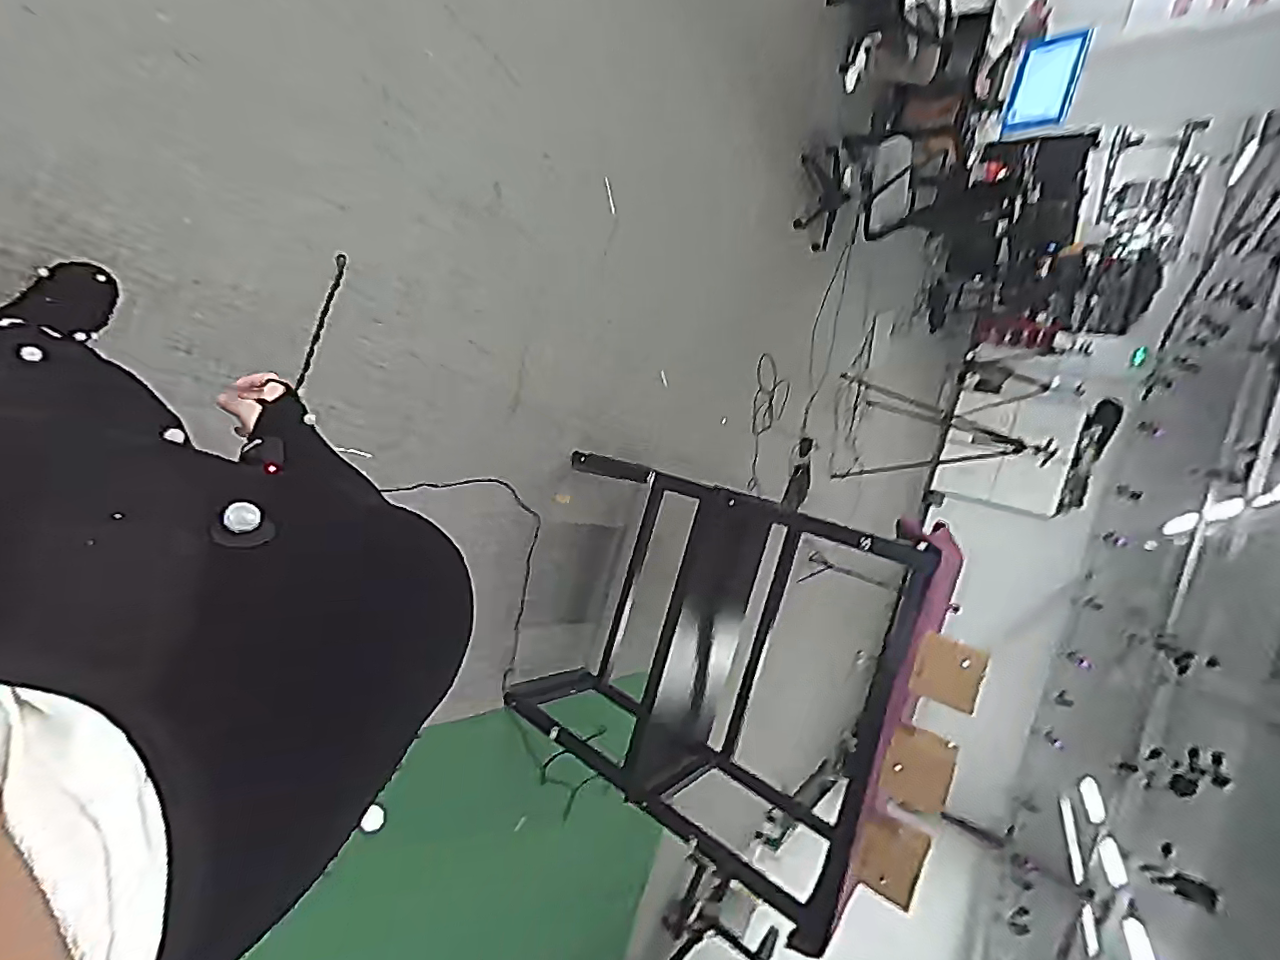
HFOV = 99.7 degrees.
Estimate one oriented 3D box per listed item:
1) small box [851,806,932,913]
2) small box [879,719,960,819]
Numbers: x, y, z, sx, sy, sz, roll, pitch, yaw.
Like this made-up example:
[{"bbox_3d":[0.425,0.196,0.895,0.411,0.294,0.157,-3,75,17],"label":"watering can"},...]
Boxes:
[{"bbox_3d":[0.738,1.104,1.589,0.179,0.176,0.168,21,87,-55],"label":"small box"},{"bbox_3d":[0.814,0.835,1.581,0.168,0.176,0.179,13,93,-56],"label":"small box"}]
